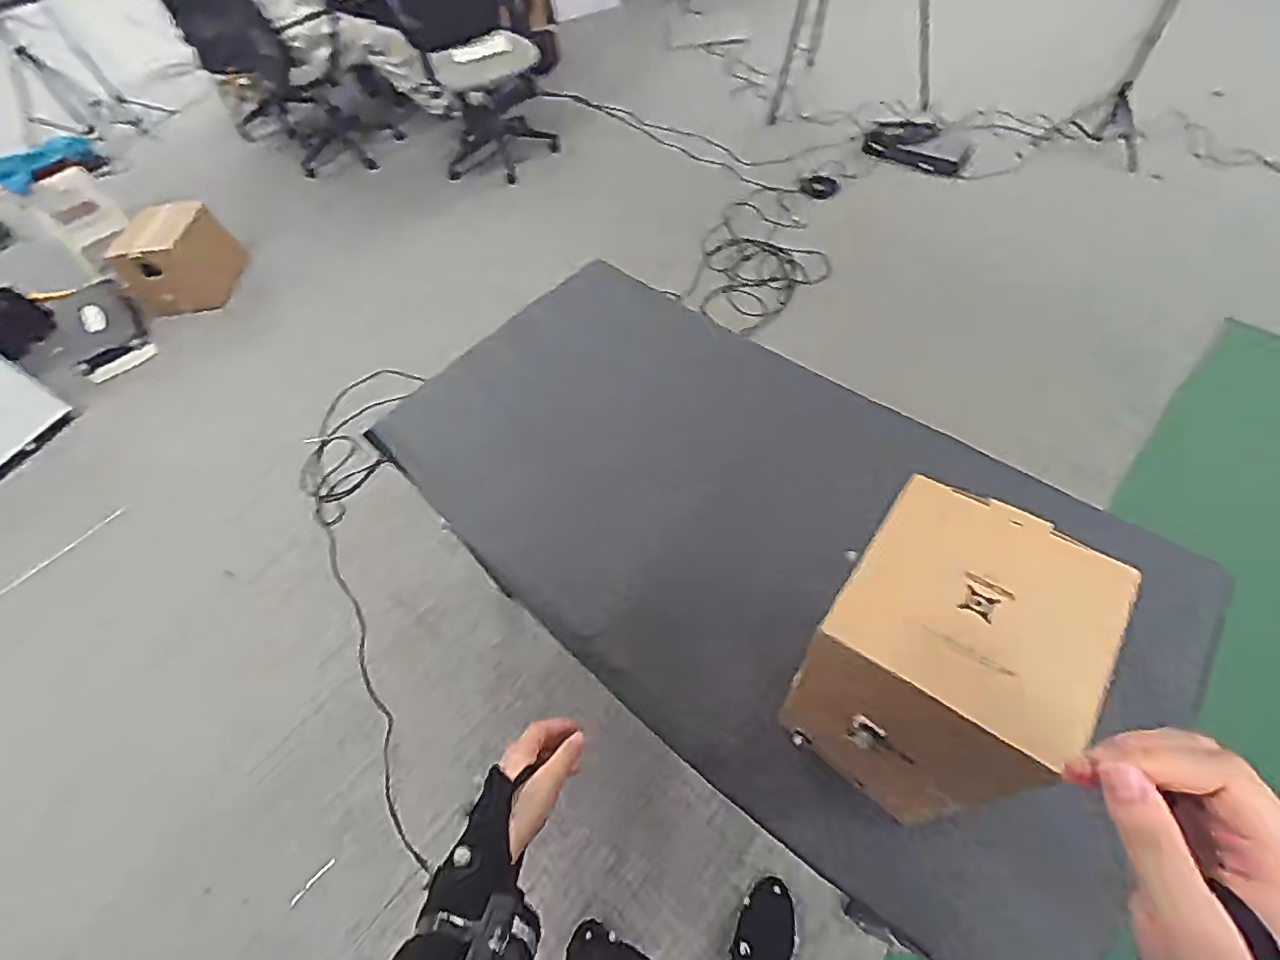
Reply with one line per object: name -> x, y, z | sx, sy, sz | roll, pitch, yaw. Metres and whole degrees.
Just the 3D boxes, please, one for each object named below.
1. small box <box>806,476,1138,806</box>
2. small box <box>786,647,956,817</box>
small box -> 0.256, 0.136, 0.456 | 0.168, 0.176, 0.179 | 29, 63, 27
small box -> 0.275, 0.229, 0.587 | 0.168, 0.176, 0.179 | 34, 63, 28
